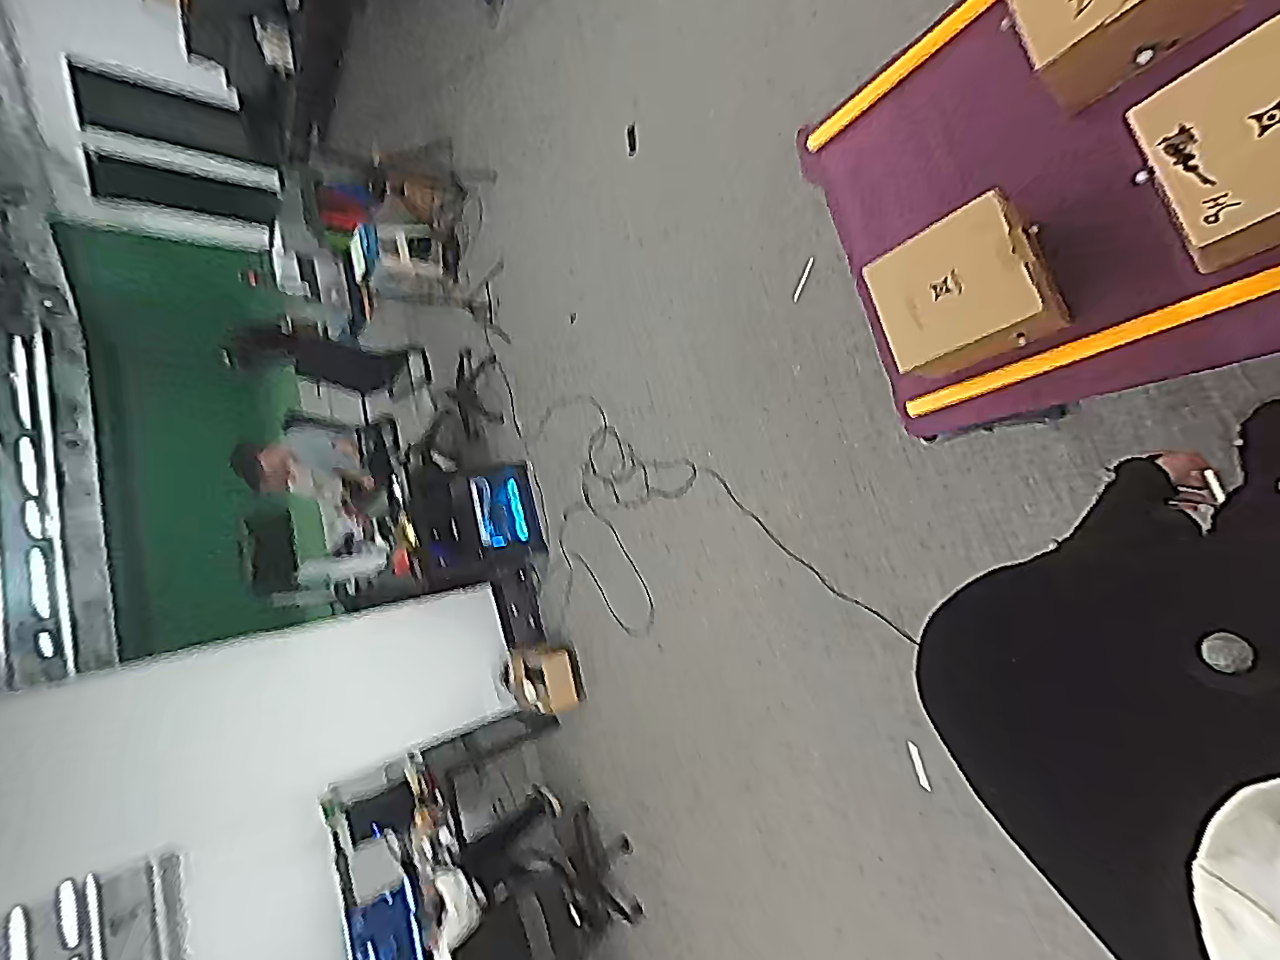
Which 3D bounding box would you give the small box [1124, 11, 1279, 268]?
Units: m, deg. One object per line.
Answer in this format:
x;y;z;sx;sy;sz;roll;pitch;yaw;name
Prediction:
0.631;-0.339;0.538;0.179;0.176;0.168;-26;76;47;small box

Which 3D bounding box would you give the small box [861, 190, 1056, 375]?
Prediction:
0.448;-0.259;0.755;0.179;0.176;0.168;-25;76;45;small box

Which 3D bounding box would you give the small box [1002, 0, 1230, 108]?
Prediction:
0.530;-0.579;0.618;0.168;0.176;0.179;-24;79;48;small box
